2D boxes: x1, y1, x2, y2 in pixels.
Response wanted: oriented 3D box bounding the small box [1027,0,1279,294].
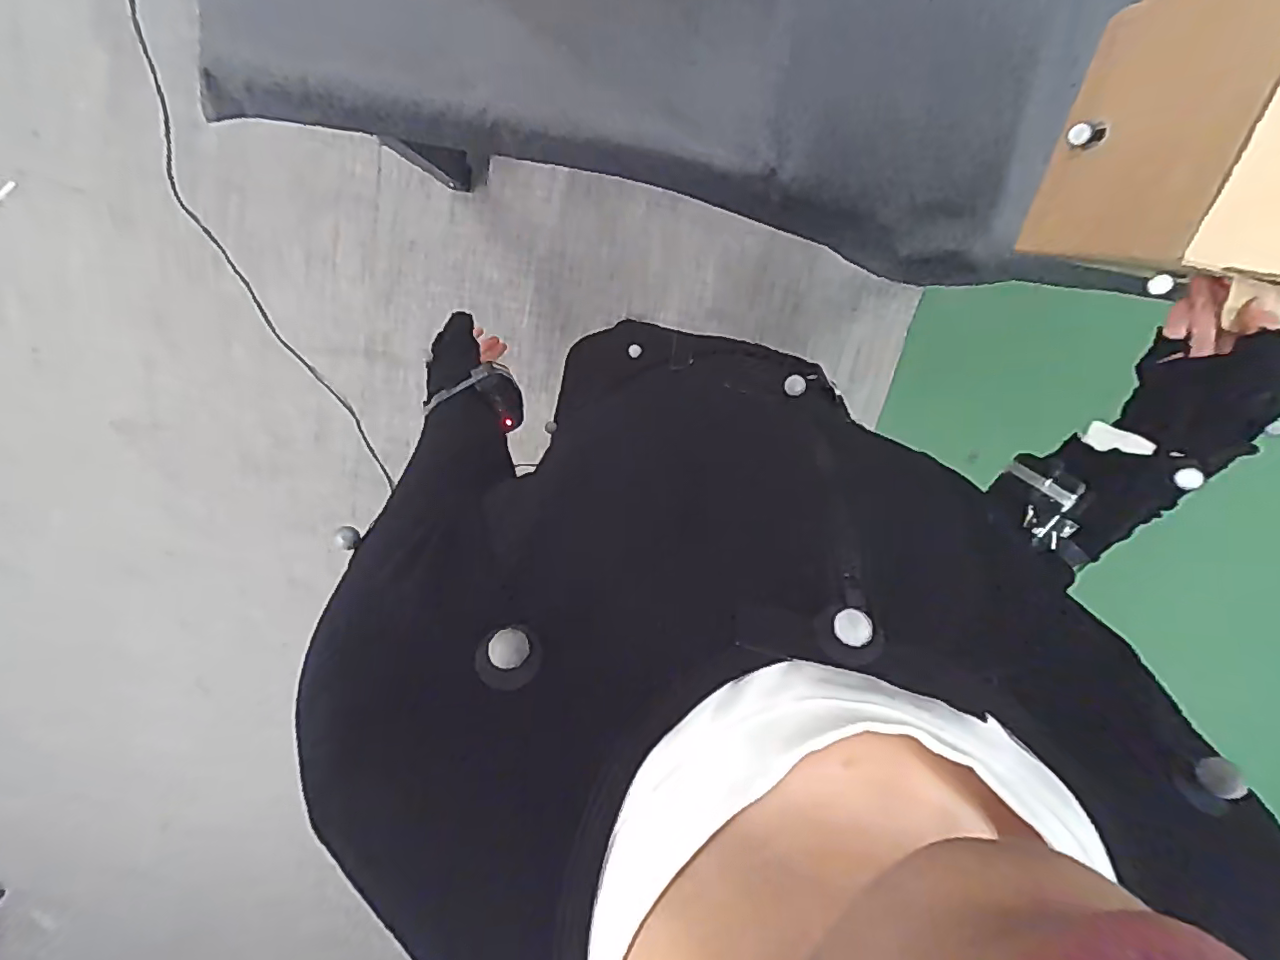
[{"bbox_3d":[0.433,-0.240,0.392,0.168,0.176,0.179,6,116,-6],"label":"small box"}]
